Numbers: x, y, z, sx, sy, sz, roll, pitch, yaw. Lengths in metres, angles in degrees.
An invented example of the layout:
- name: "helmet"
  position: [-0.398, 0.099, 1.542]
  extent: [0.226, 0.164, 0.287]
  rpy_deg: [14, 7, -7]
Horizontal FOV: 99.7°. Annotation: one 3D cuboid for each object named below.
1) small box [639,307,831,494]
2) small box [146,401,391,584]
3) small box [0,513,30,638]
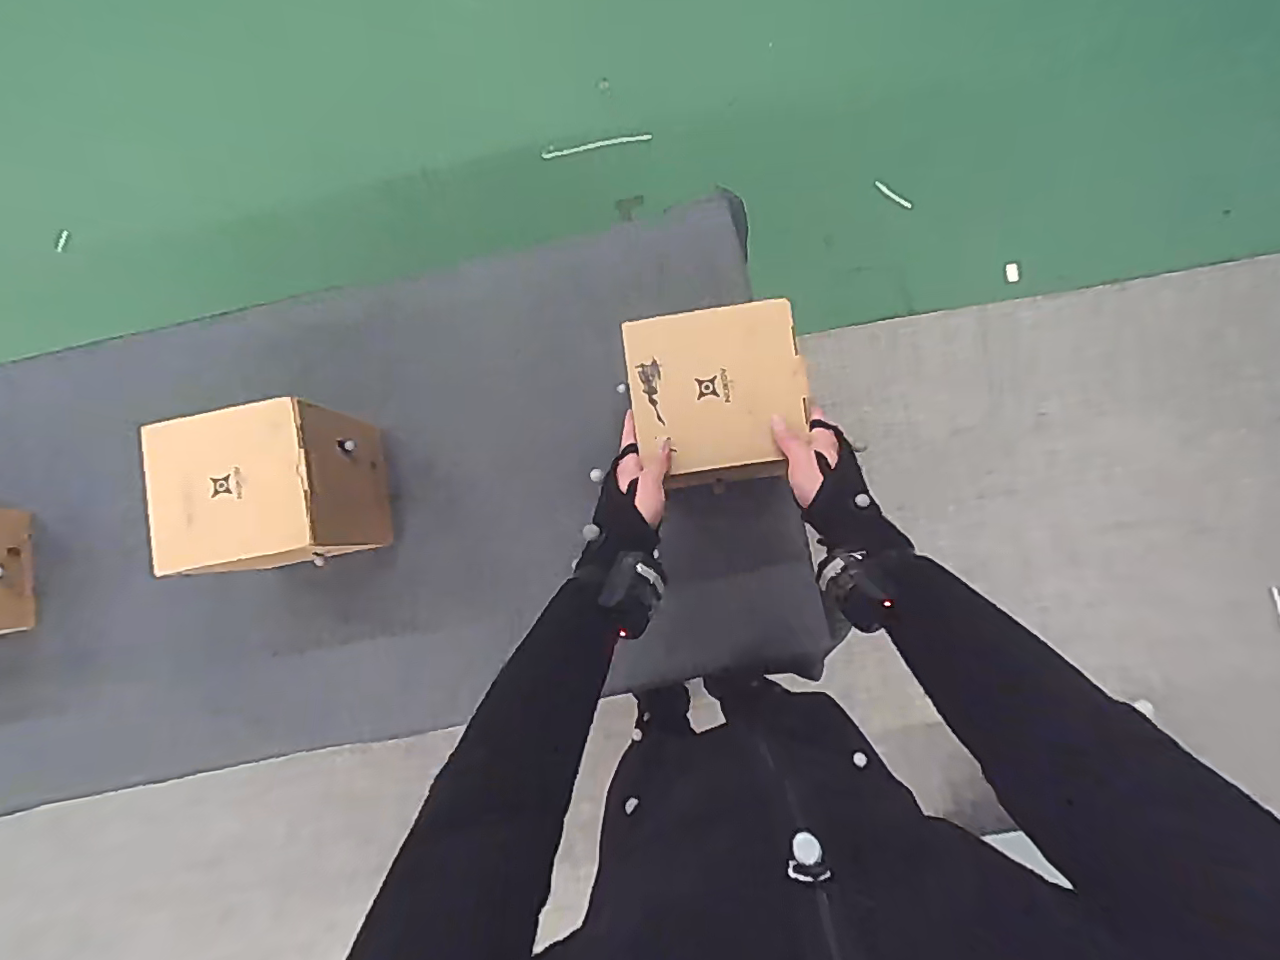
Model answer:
- name: "small box"
  position: [0.095, -0.077, 0.615]
  extent: [0.179, 0.176, 0.168]
  rpy_deg: [-7, 84, 2]
- name: "small box"
  position: [-0.416, 0.019, 0.636]
  extent: [0.179, 0.176, 0.168]
  rpy_deg: [-12, 83, 3]
- name: "small box"
  position: [-0.908, 0.130, 0.647]
  extent: [0.179, 0.176, 0.168]
  rpy_deg: [-11, 84, 1]
